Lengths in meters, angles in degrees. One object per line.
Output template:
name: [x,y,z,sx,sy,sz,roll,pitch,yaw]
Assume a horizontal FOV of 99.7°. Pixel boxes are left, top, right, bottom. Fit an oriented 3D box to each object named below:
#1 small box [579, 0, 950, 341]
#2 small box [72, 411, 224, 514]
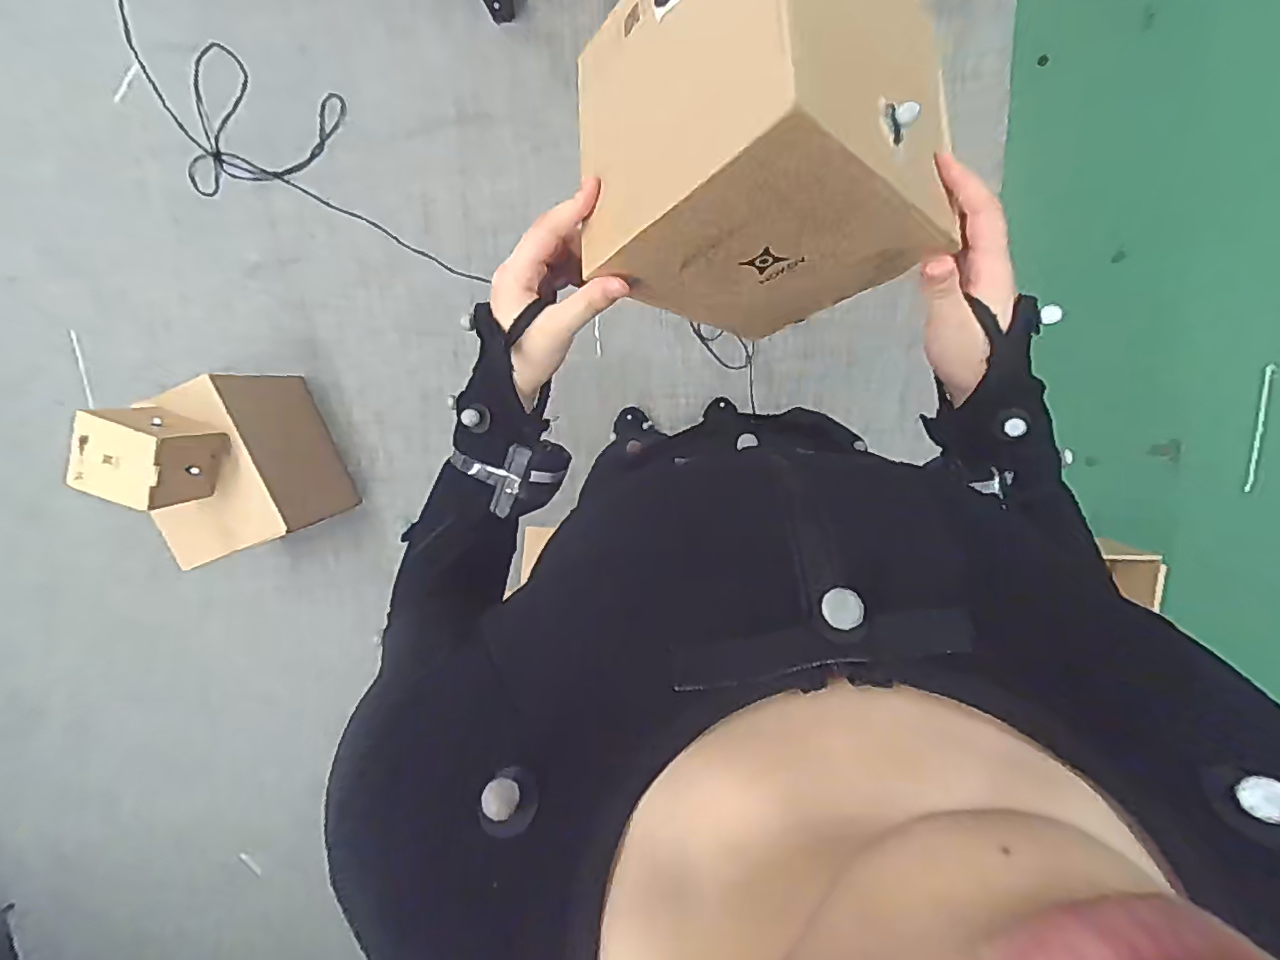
small box: [0.074,-0.218,0.359,0.179,0.168,0.176,7,75,-36]
small box: [-1.062,-0.047,1.181,0.179,0.176,0.168,19,100,-1]
